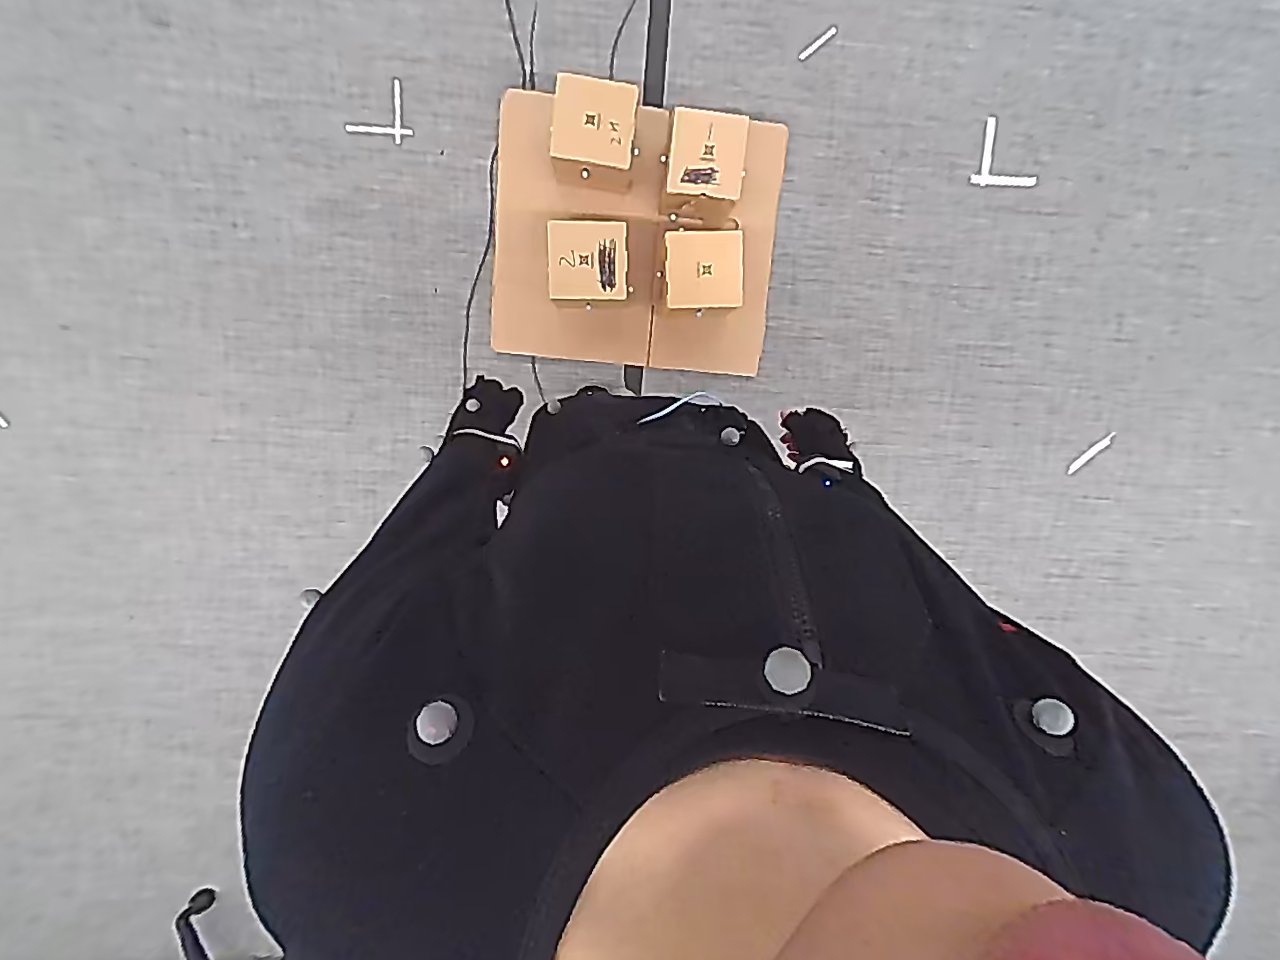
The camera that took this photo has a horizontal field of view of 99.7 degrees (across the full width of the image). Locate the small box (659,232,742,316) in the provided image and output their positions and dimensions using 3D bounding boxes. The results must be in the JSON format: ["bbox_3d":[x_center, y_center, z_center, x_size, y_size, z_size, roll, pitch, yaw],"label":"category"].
[{"bbox_3d":[0.140,-0.492,1.304,0.179,0.176,0.168,-2,101,-2],"label":"small box"}]

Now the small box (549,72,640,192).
[{"bbox_3d":[-0.102,-0.779,1.231,0.179,0.176,0.168,8,100,-5],"label":"small box"}]

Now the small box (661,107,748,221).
[{"bbox_3d":[0.142,-0.724,1.260,0.168,0.176,0.179,6,99,-4],"label":"small box"}]
